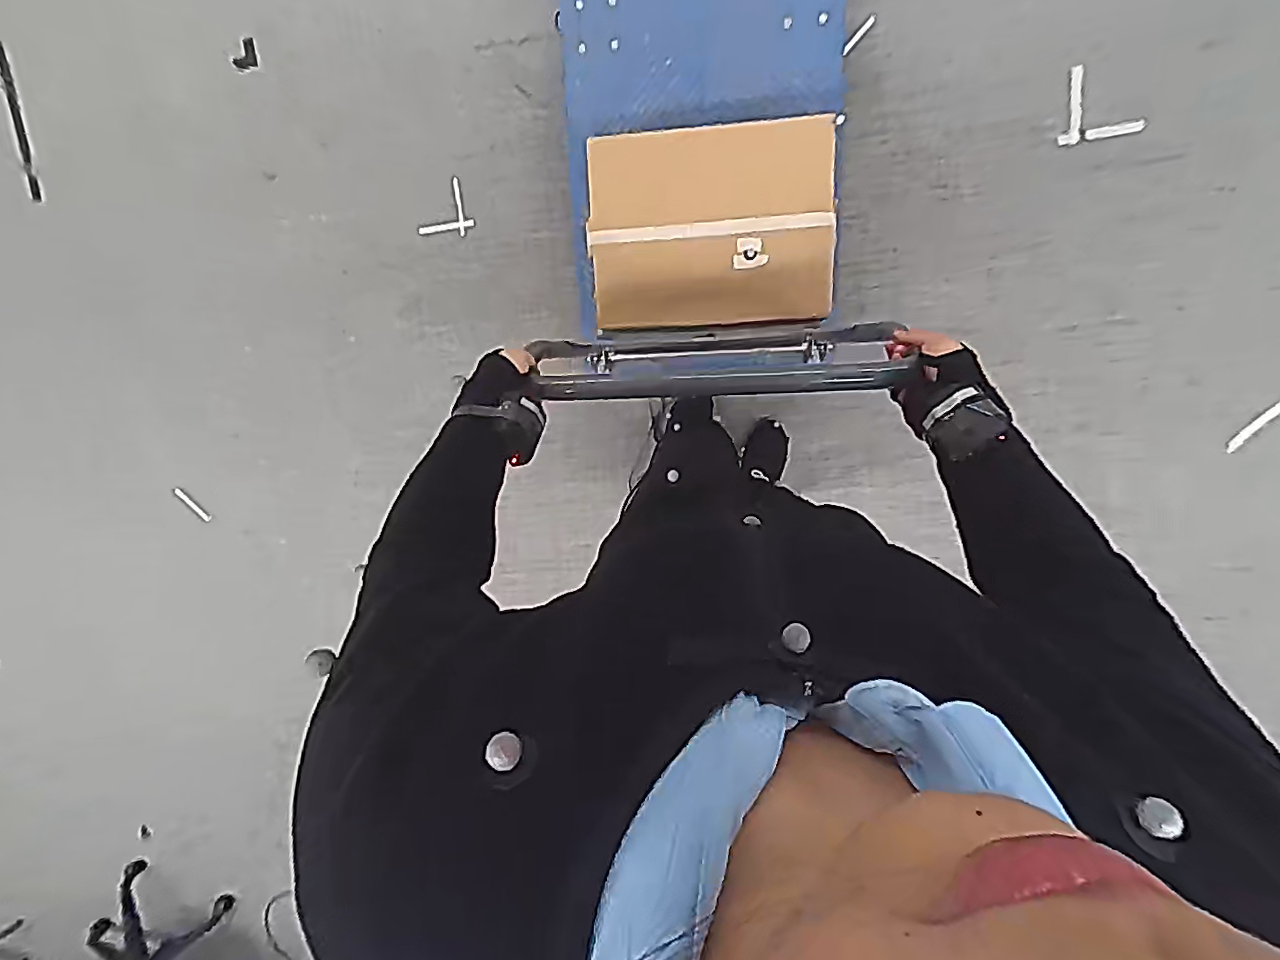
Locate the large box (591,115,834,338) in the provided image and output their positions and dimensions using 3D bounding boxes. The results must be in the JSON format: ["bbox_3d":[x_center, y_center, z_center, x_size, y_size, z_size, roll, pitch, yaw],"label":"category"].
[{"bbox_3d":[0.136,-0.458,1.061,0.408,0.320,0.320,-2,103,6],"label":"large box"}]
